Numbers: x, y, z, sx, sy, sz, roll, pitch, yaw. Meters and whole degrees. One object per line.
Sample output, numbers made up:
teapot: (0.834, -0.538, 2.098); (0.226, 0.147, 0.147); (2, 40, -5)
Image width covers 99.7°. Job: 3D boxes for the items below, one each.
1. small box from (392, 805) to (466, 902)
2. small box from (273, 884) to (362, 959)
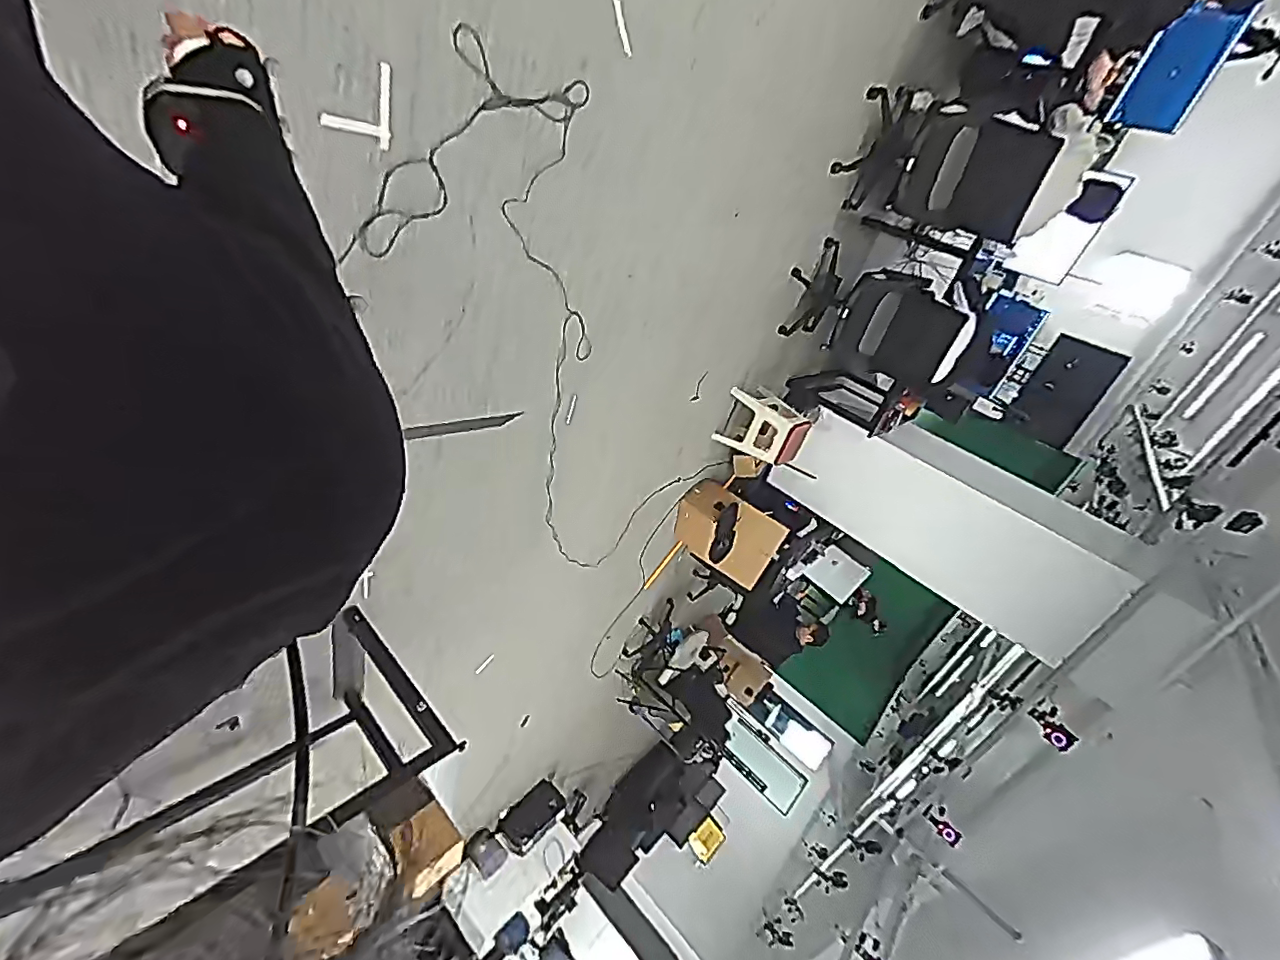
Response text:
small box: (-0.687, 1.202, 1.754); (0.168, 0.176, 0.179); (-22, 140, -43)
small box: (-0.904, 1.293, 1.518); (0.168, 0.176, 0.179); (-21, 138, -46)
